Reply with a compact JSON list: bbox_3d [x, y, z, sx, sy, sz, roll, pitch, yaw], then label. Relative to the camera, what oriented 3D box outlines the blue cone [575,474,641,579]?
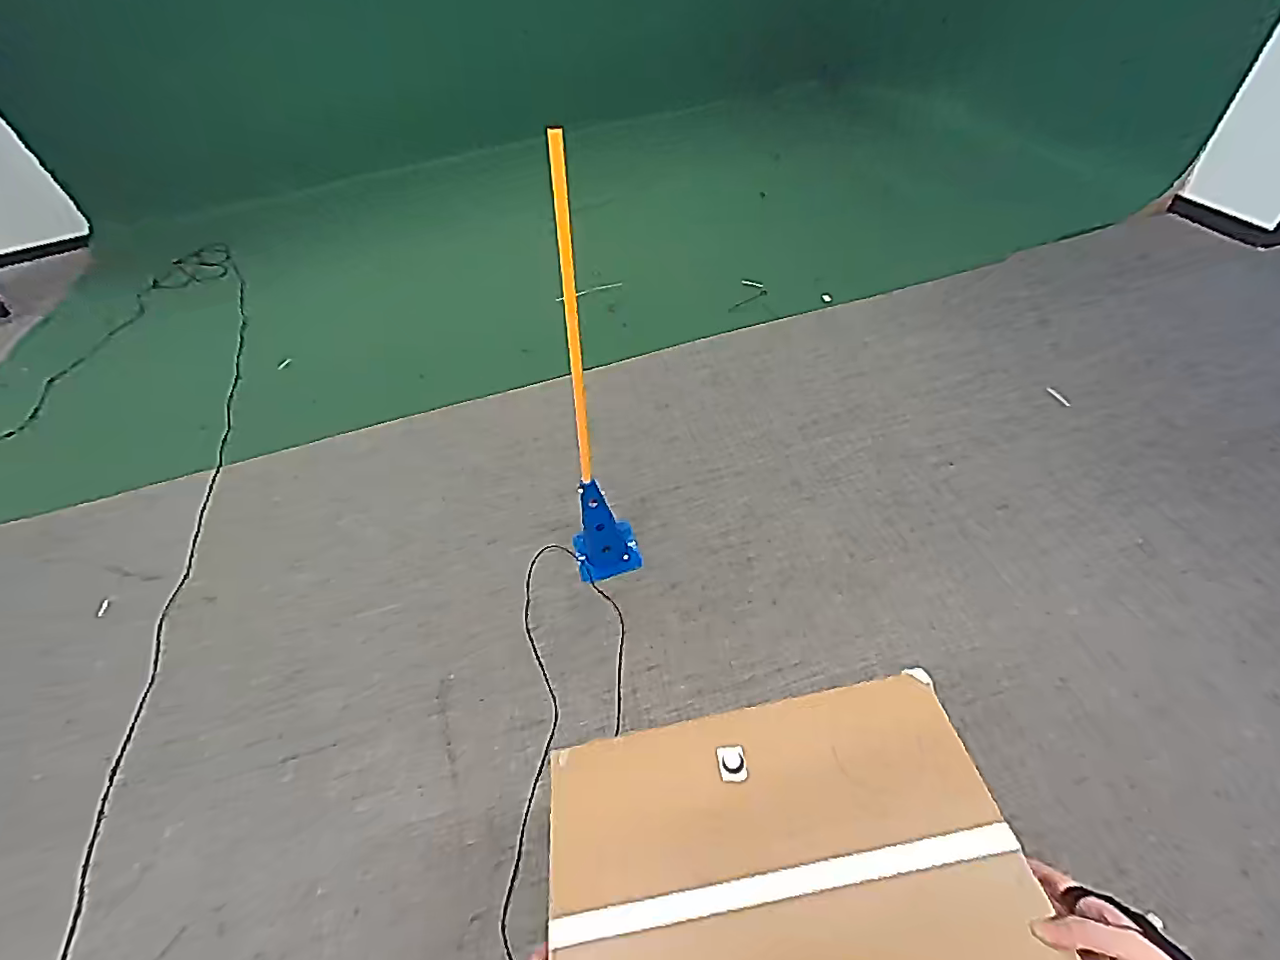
[{"bbox_3d":[-0.123,0.112,1.625,0.193,0.380,0.192,-17,49,-8],"label":"blue cone"}]
